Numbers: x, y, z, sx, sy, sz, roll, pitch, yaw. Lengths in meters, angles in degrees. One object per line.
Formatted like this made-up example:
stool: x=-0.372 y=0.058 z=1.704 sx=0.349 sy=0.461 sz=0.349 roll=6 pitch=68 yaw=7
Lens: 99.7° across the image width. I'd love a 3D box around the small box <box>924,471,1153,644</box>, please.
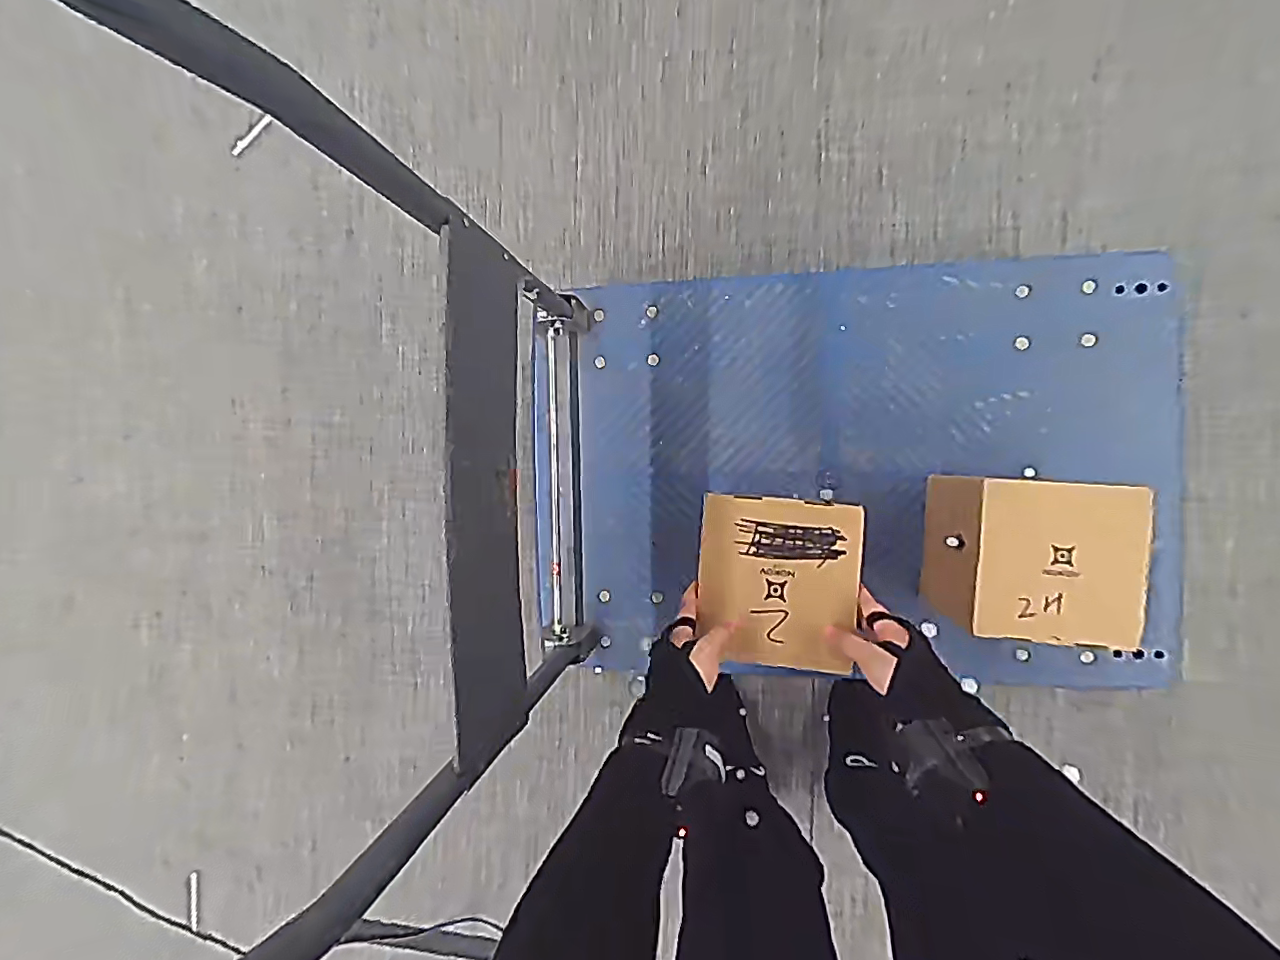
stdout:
small box: x=0.464 y=0.080 z=0.658 sx=0.168 sy=0.176 sz=0.179 roll=3 pitch=92 yaw=9
